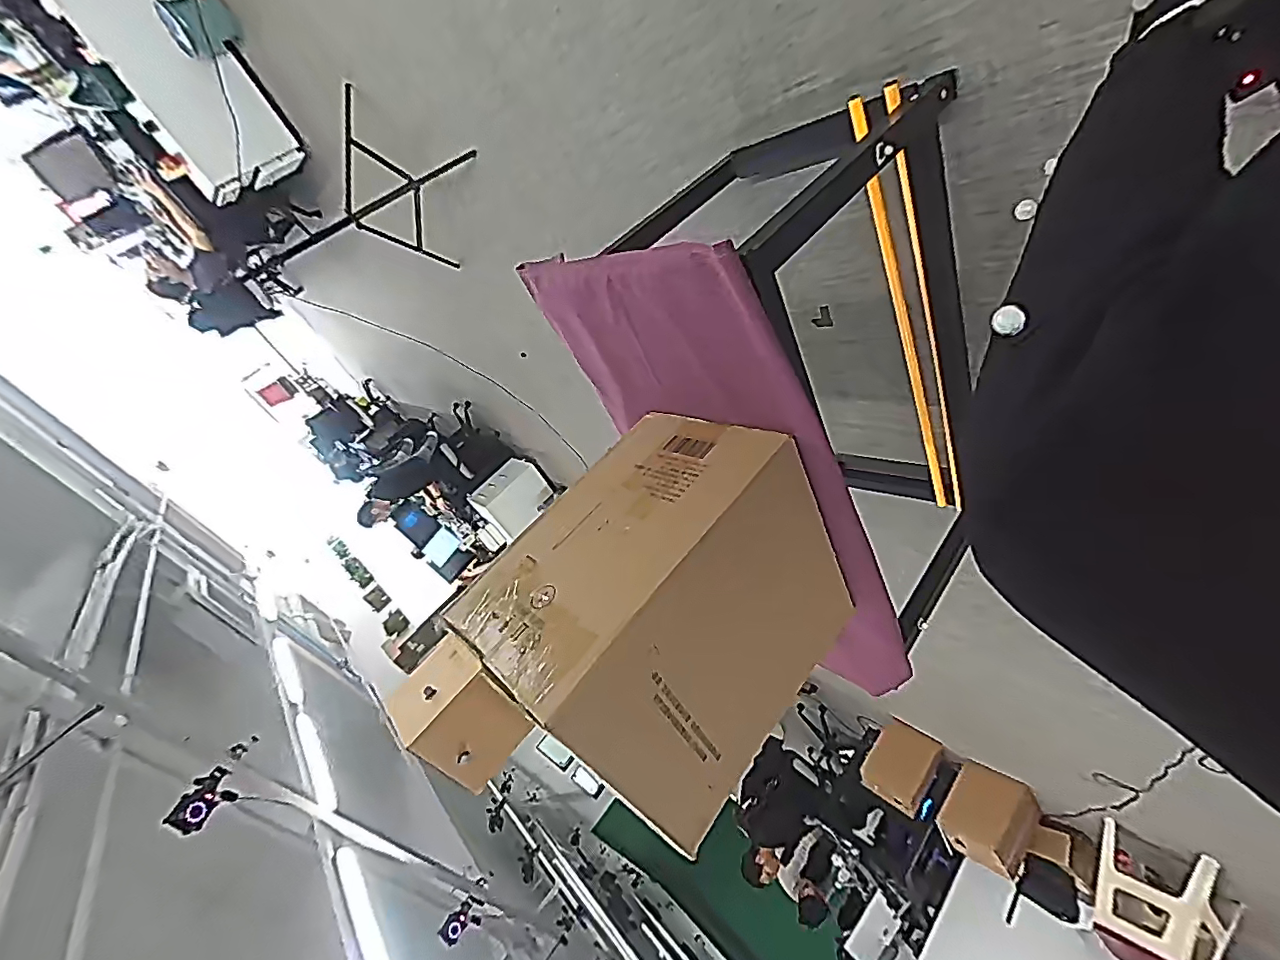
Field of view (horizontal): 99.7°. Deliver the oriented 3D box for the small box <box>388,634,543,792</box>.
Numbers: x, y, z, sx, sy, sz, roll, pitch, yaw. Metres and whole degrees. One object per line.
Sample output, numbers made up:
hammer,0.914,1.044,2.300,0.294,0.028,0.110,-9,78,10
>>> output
small box,-0.314,0.412,0.982,0.168,0.176,0.179,12,144,53
